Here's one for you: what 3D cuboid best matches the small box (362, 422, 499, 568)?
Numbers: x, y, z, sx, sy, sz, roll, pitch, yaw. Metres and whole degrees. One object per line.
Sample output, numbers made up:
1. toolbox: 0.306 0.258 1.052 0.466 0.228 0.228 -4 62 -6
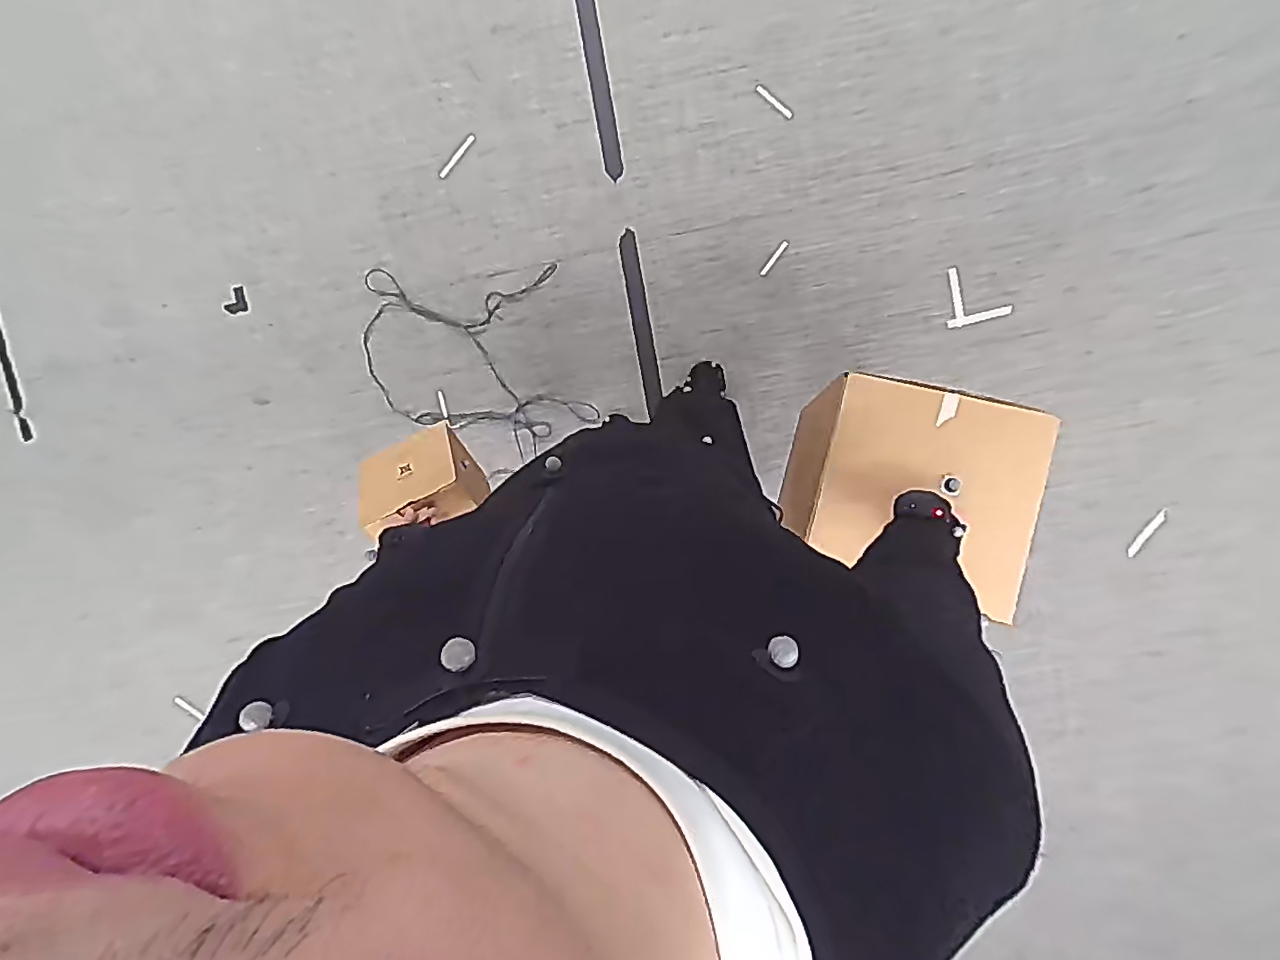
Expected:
1. small box: -0.371 0.036 0.970 0.168 0.179 0.176 -26 137 -4
